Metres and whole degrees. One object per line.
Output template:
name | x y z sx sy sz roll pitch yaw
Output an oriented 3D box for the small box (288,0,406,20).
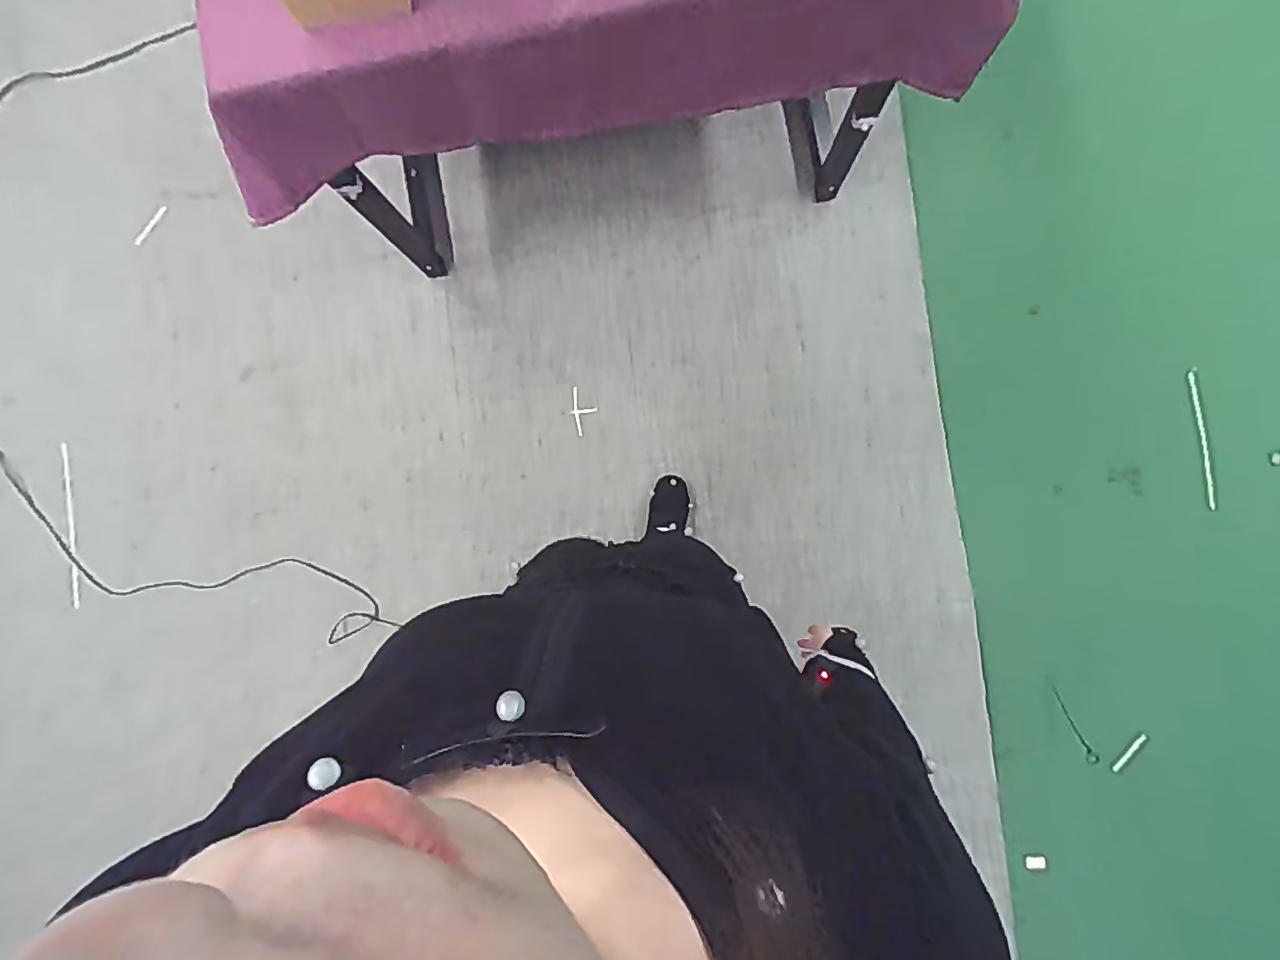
small box | -0.442 -0.786 0.744 0.179 0.176 0.168 -6 88 3
